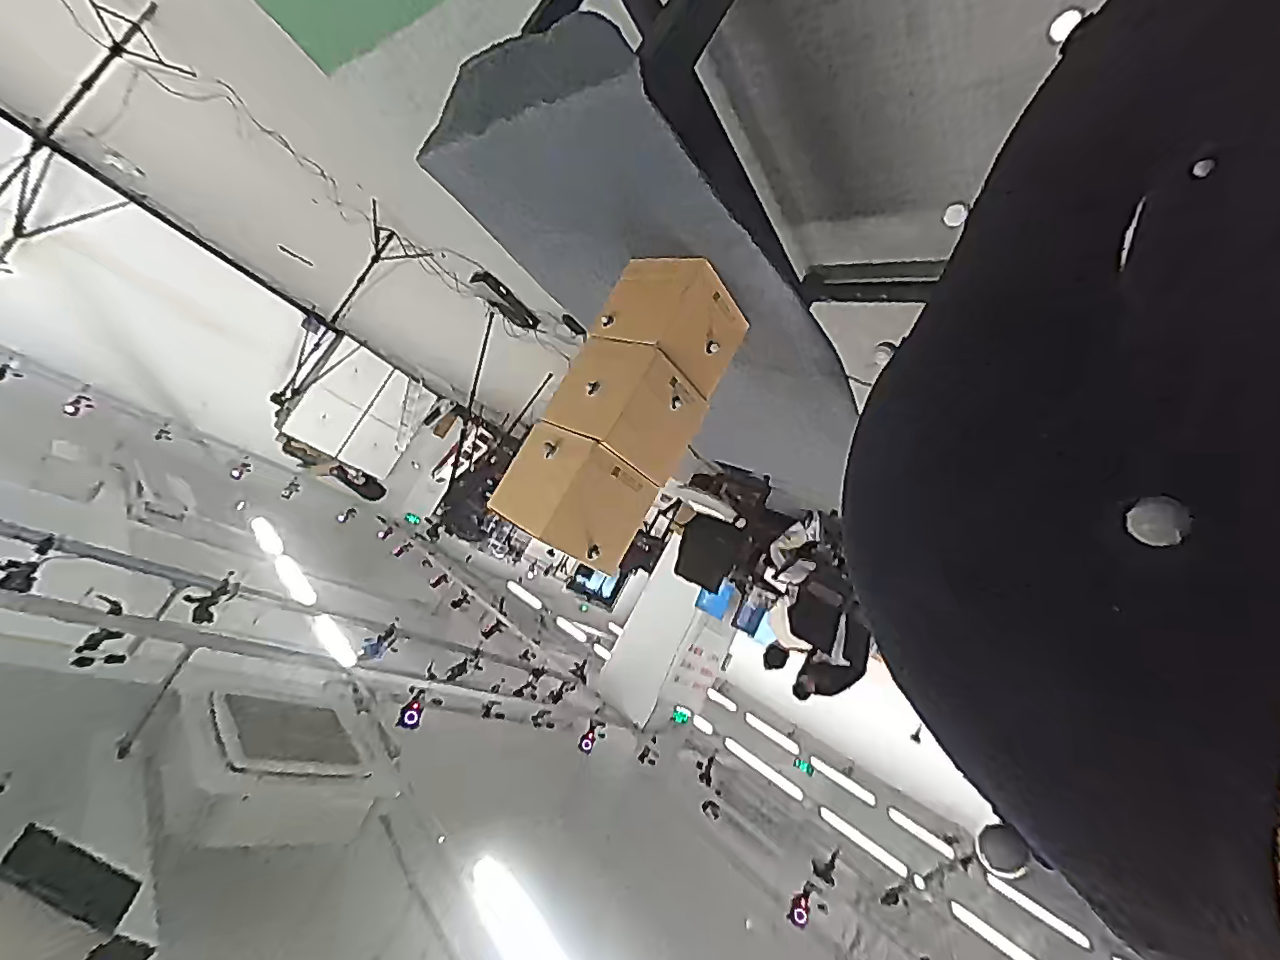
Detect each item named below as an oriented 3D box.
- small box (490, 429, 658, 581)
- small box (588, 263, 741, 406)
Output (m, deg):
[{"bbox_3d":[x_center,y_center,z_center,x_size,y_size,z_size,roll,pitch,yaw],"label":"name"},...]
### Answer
[{"bbox_3d":[-0.104,0.035,0.879,0.179,0.176,0.168,21,169,47],"label":"small box"},{"bbox_3d":[0.051,-0.251,0.924,0.179,0.176,0.168,22,169,43],"label":"small box"}]
